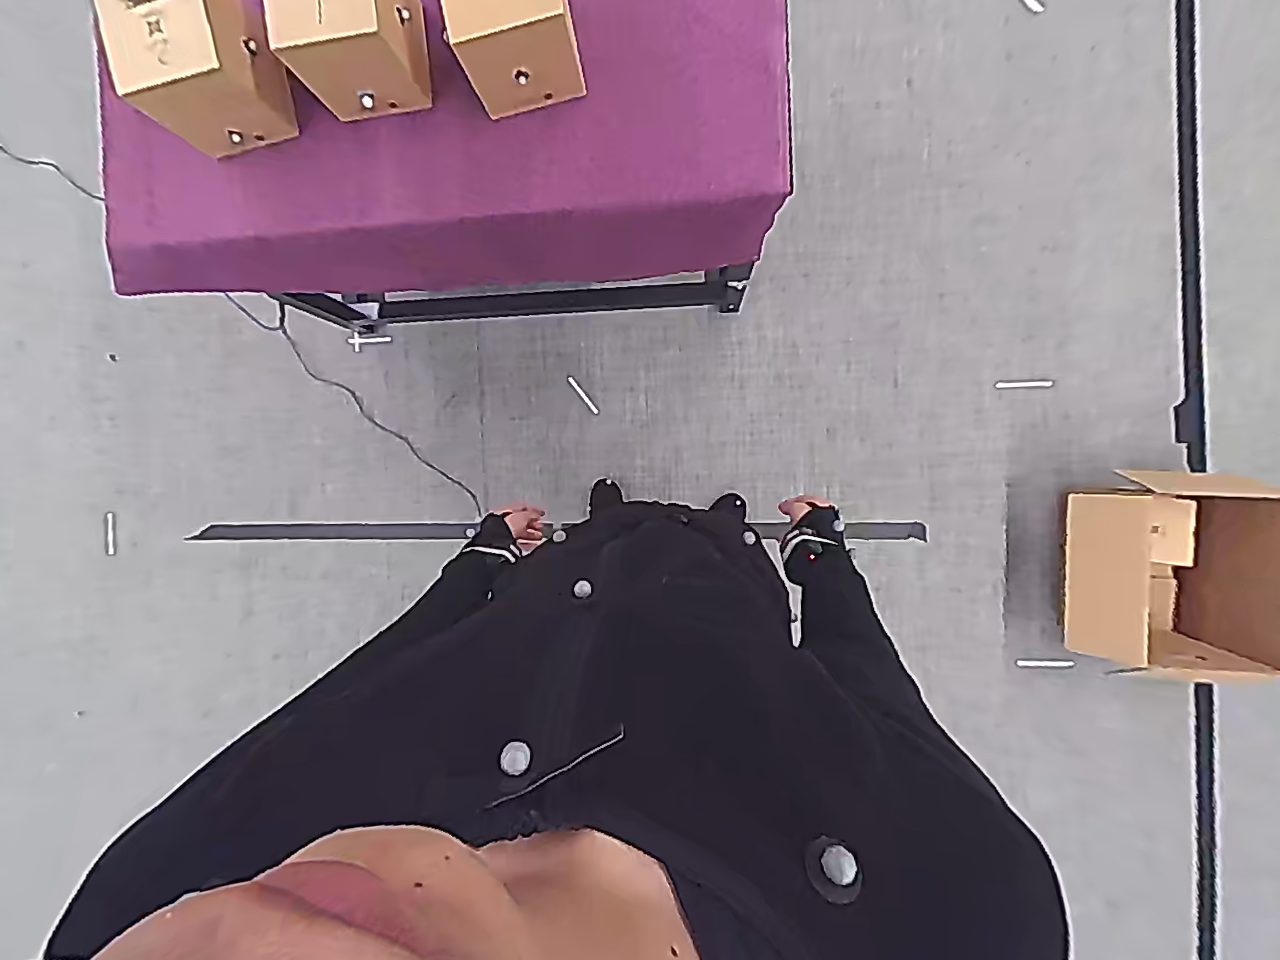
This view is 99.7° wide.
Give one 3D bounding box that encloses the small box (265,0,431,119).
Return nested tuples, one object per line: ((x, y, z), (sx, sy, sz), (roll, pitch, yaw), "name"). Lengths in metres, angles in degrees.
((-0.445, -0.707, 0.837), (0.168, 0.176, 0.179), (-6, 92, 5), "small box")

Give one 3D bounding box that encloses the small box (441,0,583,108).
((-0.192, -0.703, 0.816), (0.168, 0.176, 0.179), (-11, 90, 5), "small box")
